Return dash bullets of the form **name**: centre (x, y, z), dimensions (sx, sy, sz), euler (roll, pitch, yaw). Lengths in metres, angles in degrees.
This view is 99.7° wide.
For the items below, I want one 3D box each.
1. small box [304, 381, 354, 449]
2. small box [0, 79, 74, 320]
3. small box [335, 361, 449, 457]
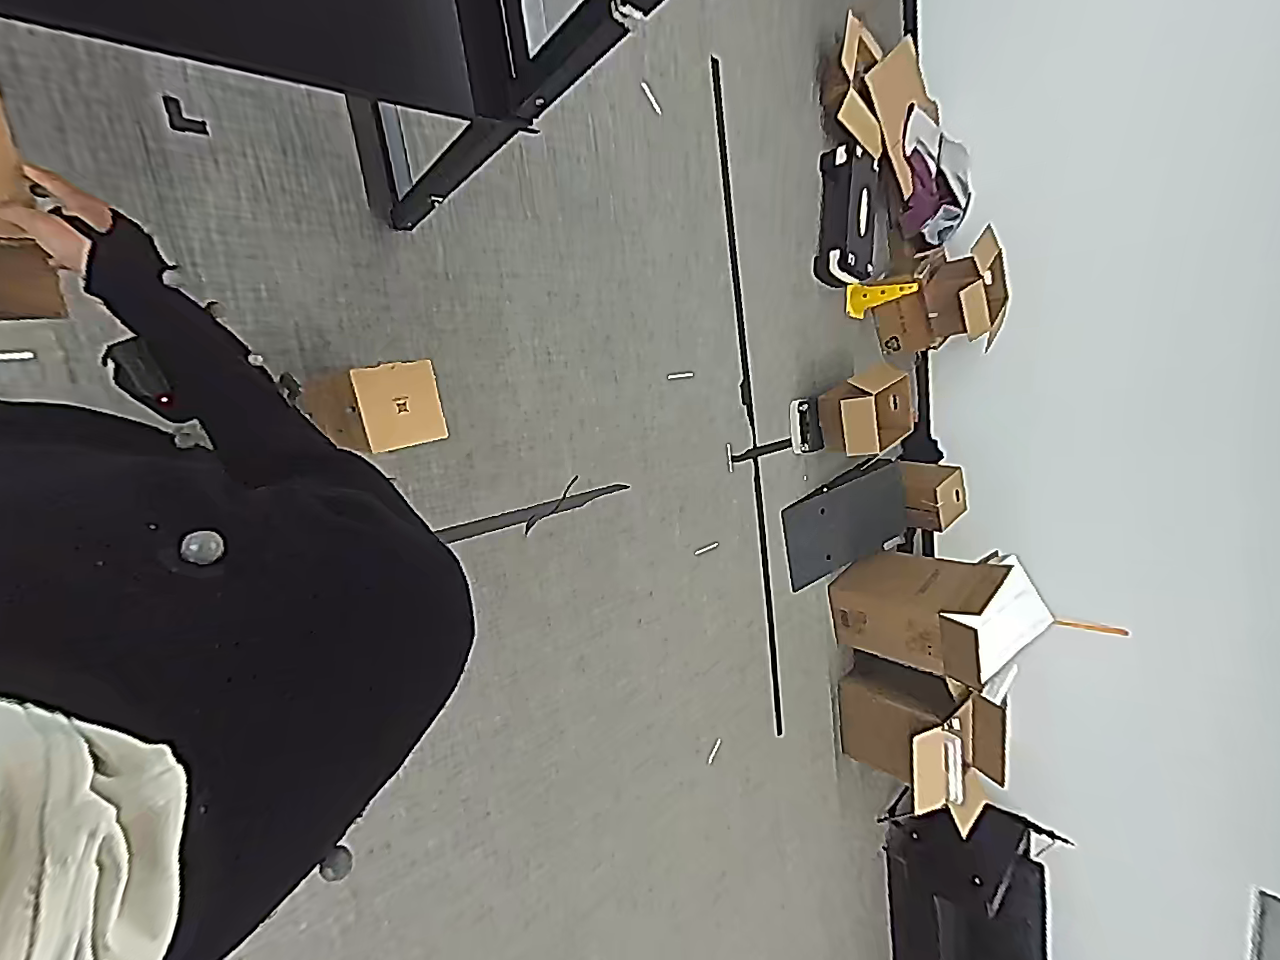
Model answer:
- **small box**: centre (-0.761, -0.181, 1.432), dimensions (0.179, 0.176, 0.168), euler (-18, 105, -38)
- **small box**: centre (-0.655, -0.253, 0.486), dimensions (0.168, 0.176, 0.179), euler (-19, 91, -43)
- **small box**: centre (-0.545, -0.157, 1.187), dimensions (0.168, 0.176, 0.179), euler (-20, 106, -38)
